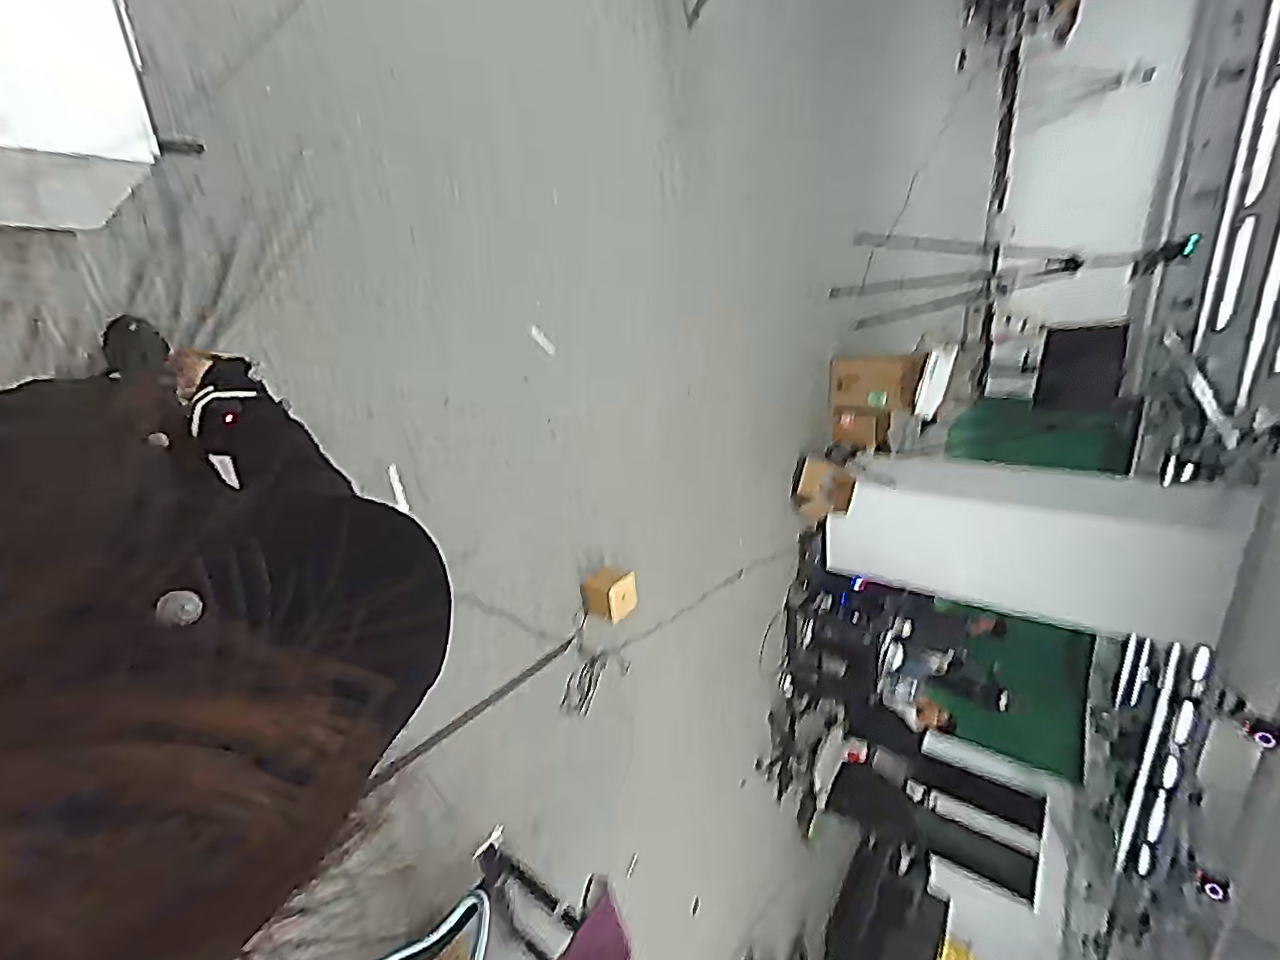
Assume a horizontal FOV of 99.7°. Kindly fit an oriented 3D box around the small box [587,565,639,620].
[{"bbox_3d":[-0.125,0.502,2.462,0.168,0.176,0.179,-28,119,-45],"label":"small box"}]
